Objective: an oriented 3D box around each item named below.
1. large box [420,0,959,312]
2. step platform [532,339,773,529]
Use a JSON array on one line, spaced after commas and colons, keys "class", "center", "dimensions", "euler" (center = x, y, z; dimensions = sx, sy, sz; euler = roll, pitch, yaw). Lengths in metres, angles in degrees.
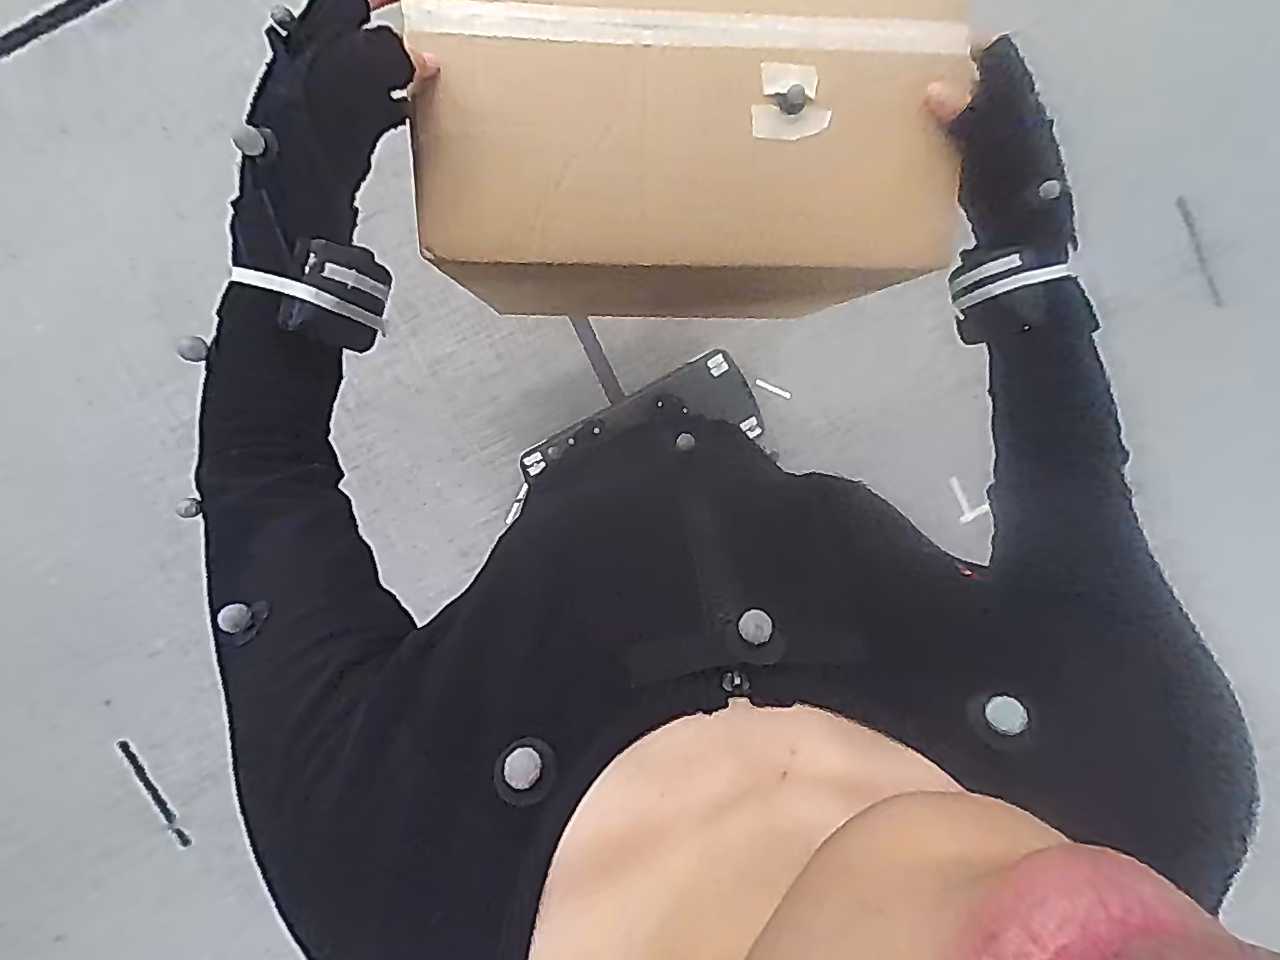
[{"class": "large box", "center": [0.027, -0.350, 0.542], "dimensions": [0.408, 0.320, 0.320], "euler": [-1, 100, -5]}, {"class": "step platform", "center": [0.033, -0.133, 1.569], "dimensions": [0.684, 0.204, 0.286], "euler": [-29, 97, 0]}]
